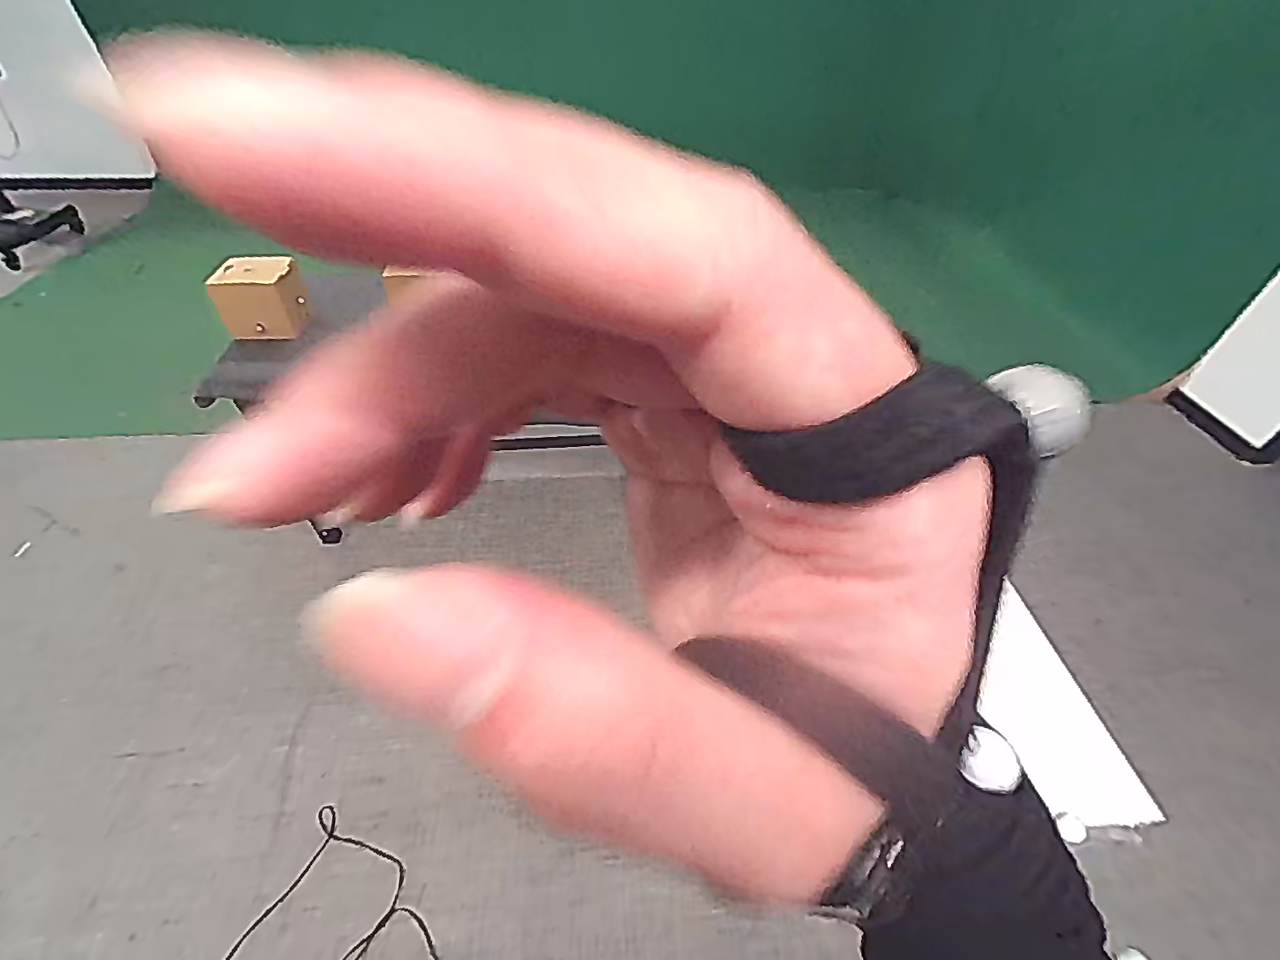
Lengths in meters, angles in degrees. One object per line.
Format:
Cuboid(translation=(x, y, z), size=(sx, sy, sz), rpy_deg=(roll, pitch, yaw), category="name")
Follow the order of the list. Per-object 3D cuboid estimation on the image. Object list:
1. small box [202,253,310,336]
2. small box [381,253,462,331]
Cuboid(translation=(-1.067, -0.518, 1.523), size=(0.179, 0.176, 0.168), rpy_deg=(-1, 44, -7), category="small box")
Cuboid(translation=(-0.635, -0.553, 1.598), size=(0.179, 0.176, 0.168), rpy_deg=(-3, 43, -5), category="small box")
